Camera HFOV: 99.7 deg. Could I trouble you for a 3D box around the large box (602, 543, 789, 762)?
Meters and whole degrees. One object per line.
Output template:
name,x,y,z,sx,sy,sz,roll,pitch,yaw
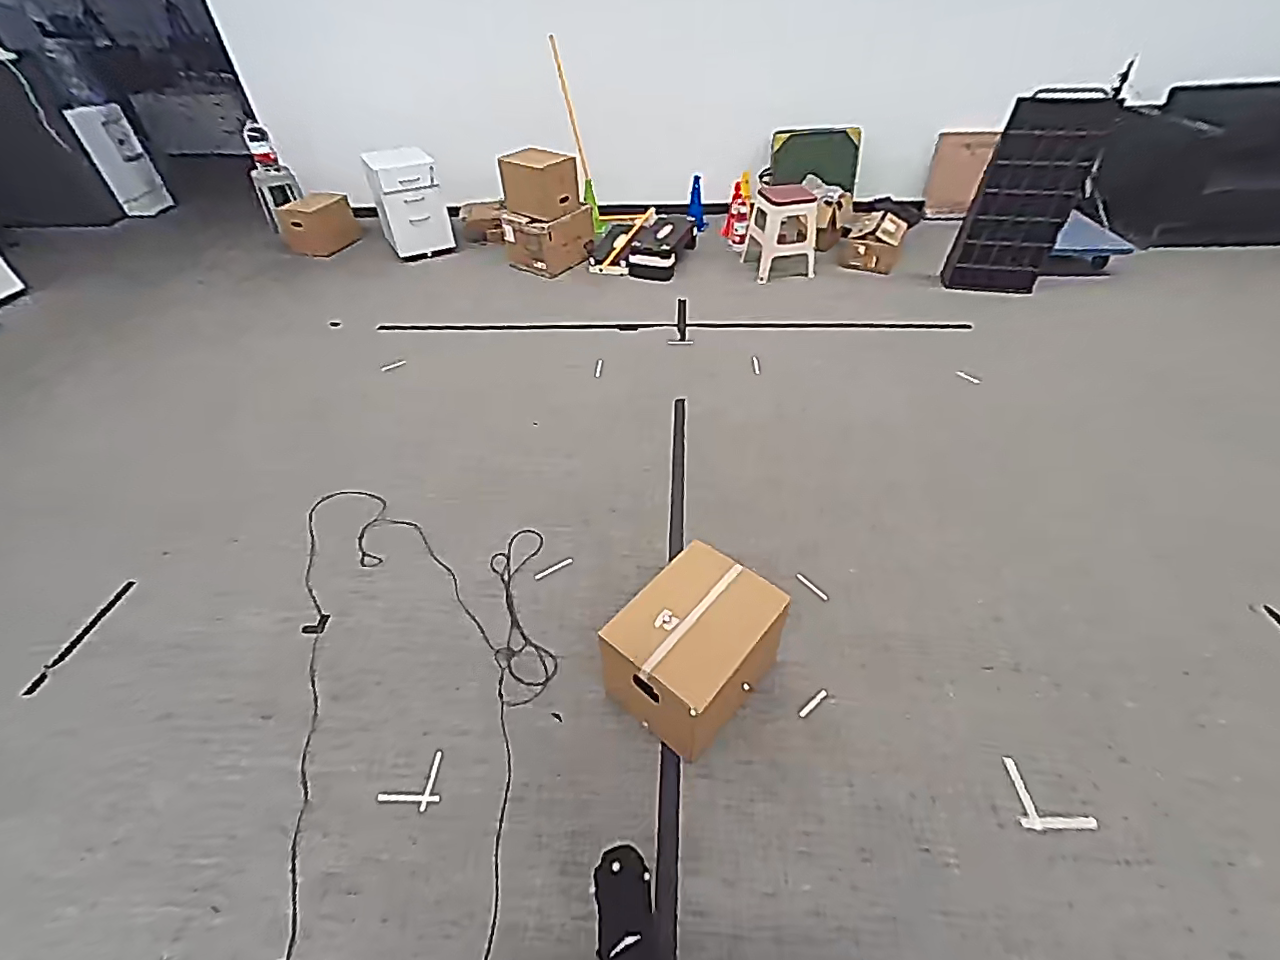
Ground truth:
large box,0.150,0.456,1.468,0.320,0.320,0.408,30,52,30
